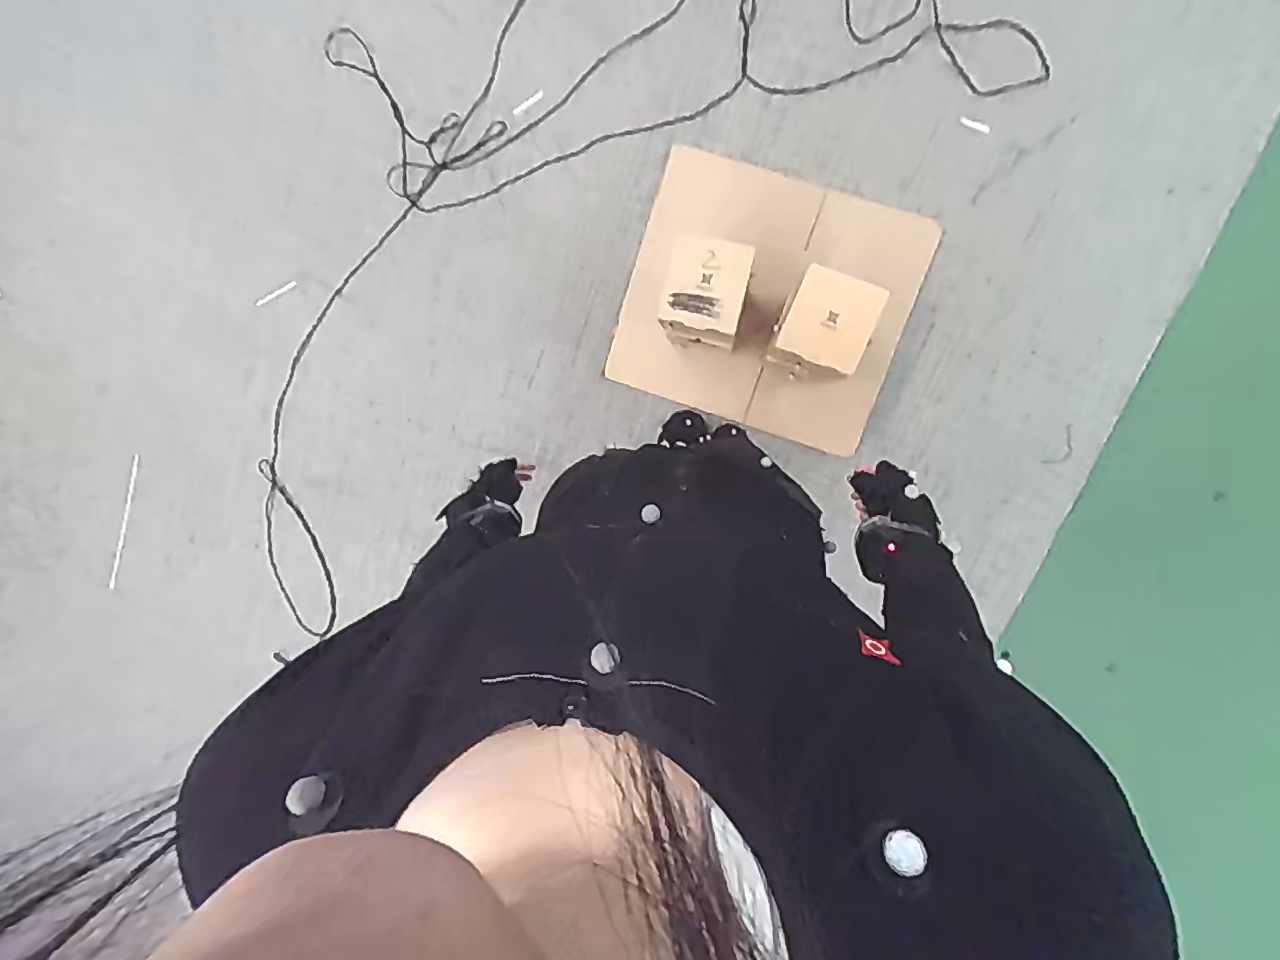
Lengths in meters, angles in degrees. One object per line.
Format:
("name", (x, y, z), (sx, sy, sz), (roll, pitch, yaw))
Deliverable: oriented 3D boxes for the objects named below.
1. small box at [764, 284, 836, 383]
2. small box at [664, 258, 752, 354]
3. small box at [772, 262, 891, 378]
("small box", (0.405, -0.342, 1.295), (0.168, 0.176, 0.179), (20, 100, 6))
("small box", (0.166, -0.414, 1.314), (0.168, 0.176, 0.179), (15, 99, 6))
("small box", (0.387, -0.326, 1.134), (0.168, 0.176, 0.179), (22, 101, 5))
